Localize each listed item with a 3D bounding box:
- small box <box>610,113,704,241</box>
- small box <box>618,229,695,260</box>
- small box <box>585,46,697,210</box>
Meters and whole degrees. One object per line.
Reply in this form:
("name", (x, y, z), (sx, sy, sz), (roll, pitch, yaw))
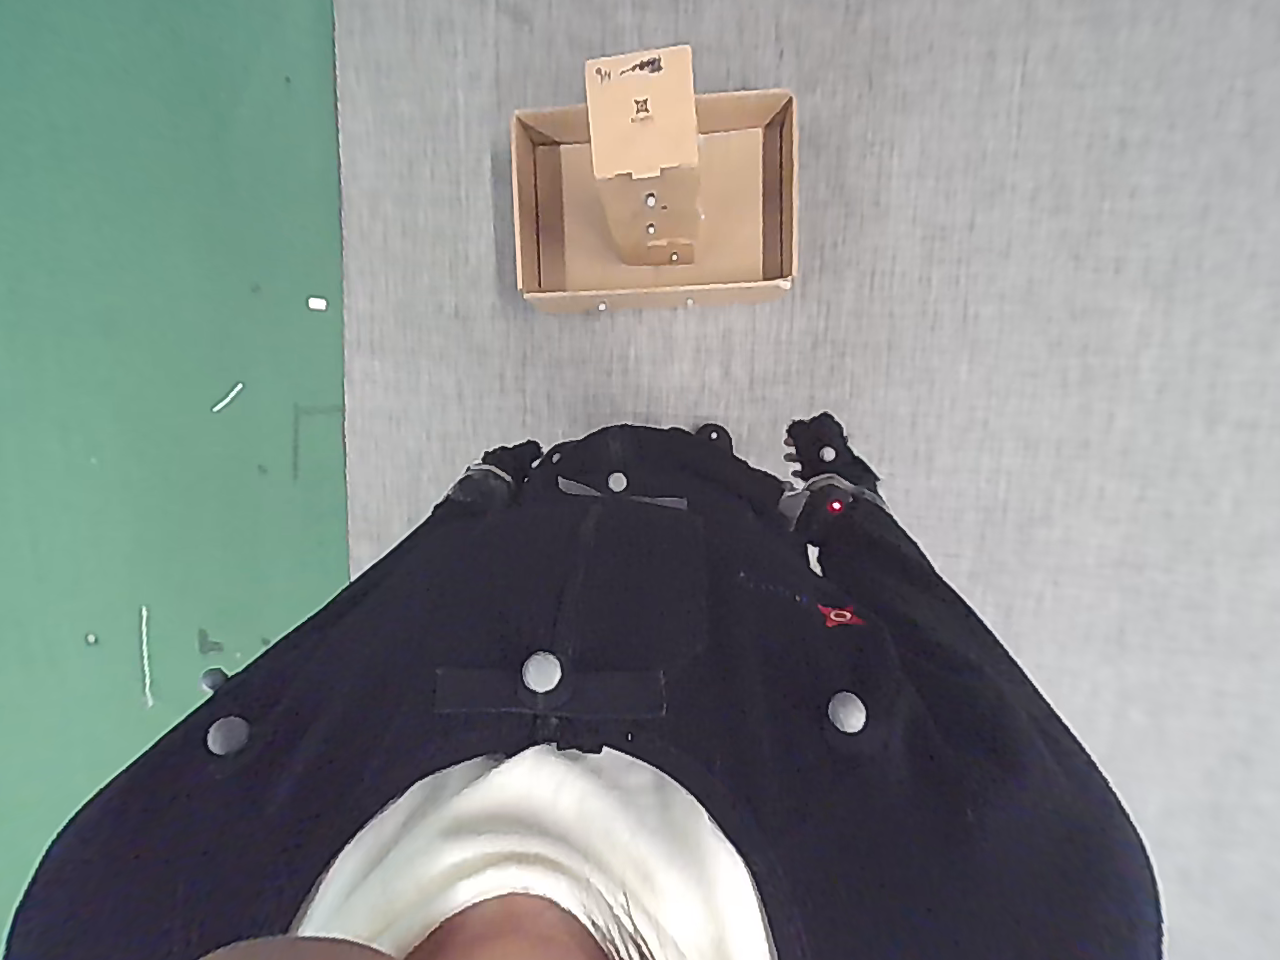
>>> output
("small box", (0.030, -0.589, 1.072), (0.179, 0.176, 0.168), (-5, 96, 5))
("small box", (0.043, -0.610, 1.233), (0.168, 0.176, 0.179), (1, 95, 5))
("small box", (0.010, -0.573, 0.910), (0.168, 0.176, 0.179), (-4, 97, 6))
